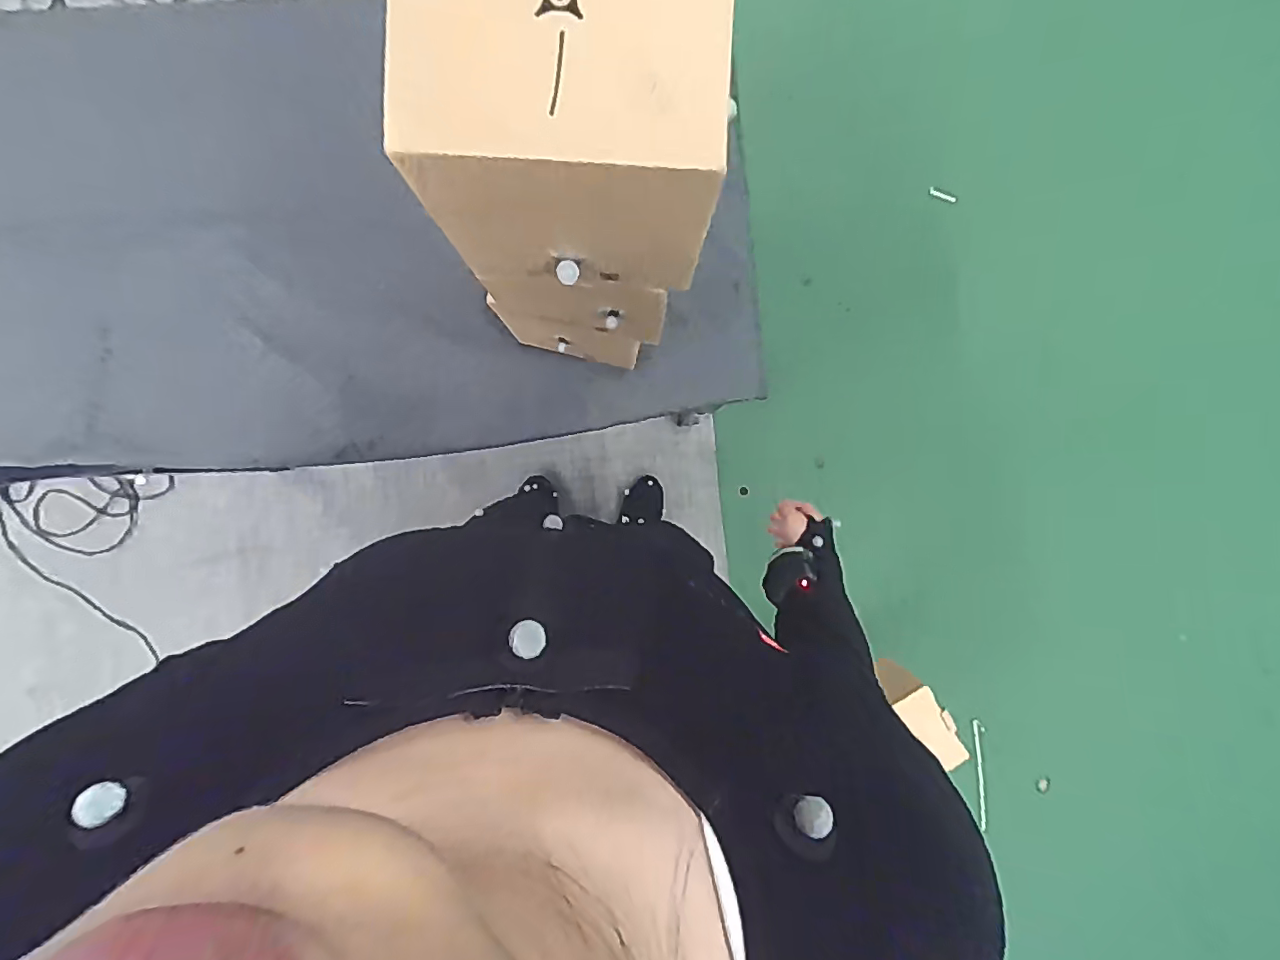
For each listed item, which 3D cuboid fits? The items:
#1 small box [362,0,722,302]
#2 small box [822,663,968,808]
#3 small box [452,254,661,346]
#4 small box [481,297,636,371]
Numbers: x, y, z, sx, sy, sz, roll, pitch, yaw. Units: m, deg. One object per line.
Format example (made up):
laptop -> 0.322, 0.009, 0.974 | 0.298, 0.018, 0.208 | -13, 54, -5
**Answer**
small box -> -0.045, -0.227, 0.333 | 0.168, 0.176, 0.179 | 3, 91, -1
small box -> 0.501, 0.501, 1.089 | 0.179, 0.176, 0.168 | -31, 91, 0
small box -> -0.054, -0.235, 0.497 | 0.168, 0.176, 0.179 | 9, 89, -1
small box -> -0.073, -0.245, 0.659 | 0.168, 0.176, 0.179 | 14, 89, -1
